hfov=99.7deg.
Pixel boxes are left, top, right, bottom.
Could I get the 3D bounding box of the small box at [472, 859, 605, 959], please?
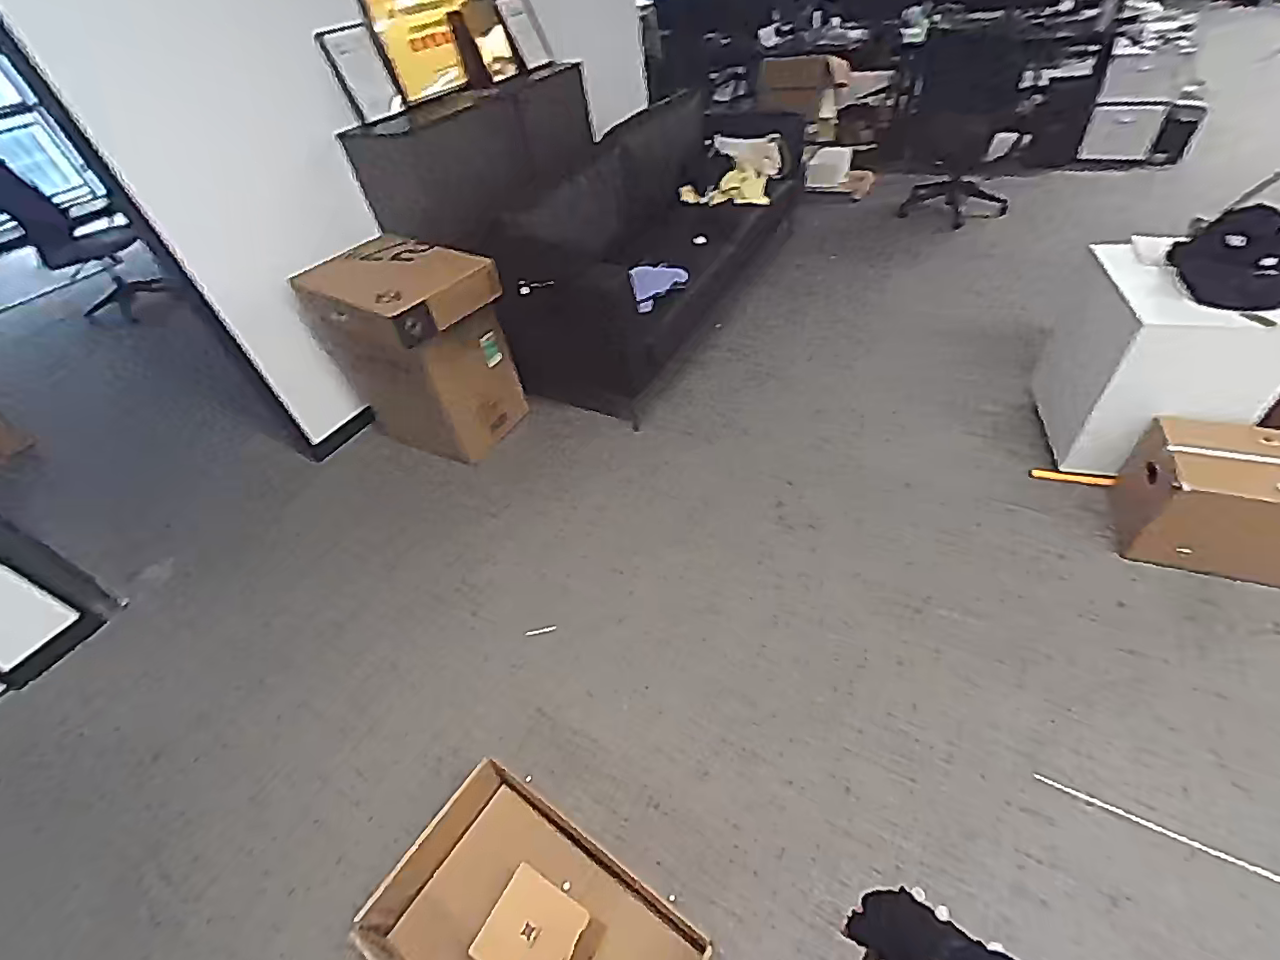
[{"bbox_3d":[-0.191,0.901,1.068,0.179,0.176,0.168,18,50,26],"label":"small box"}]
